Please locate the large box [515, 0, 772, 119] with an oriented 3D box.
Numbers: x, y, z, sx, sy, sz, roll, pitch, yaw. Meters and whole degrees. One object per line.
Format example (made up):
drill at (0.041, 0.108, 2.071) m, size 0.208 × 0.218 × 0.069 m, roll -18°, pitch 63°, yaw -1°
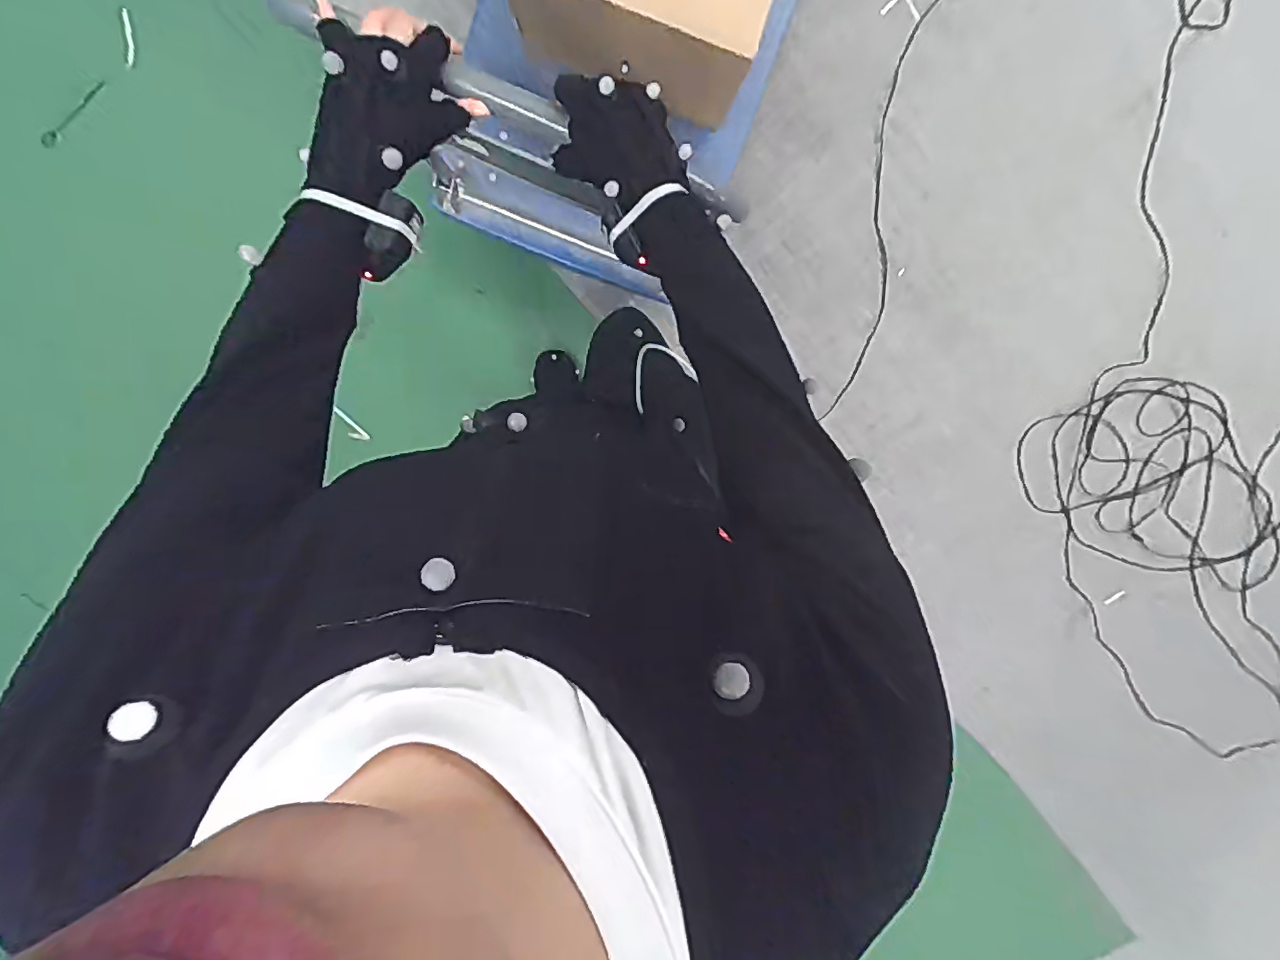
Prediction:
large box at (0.026, -0.883, 0.905) m, size 0.408 × 0.320 × 0.320 m, roll 16°, pitch 104°, yaw -6°
